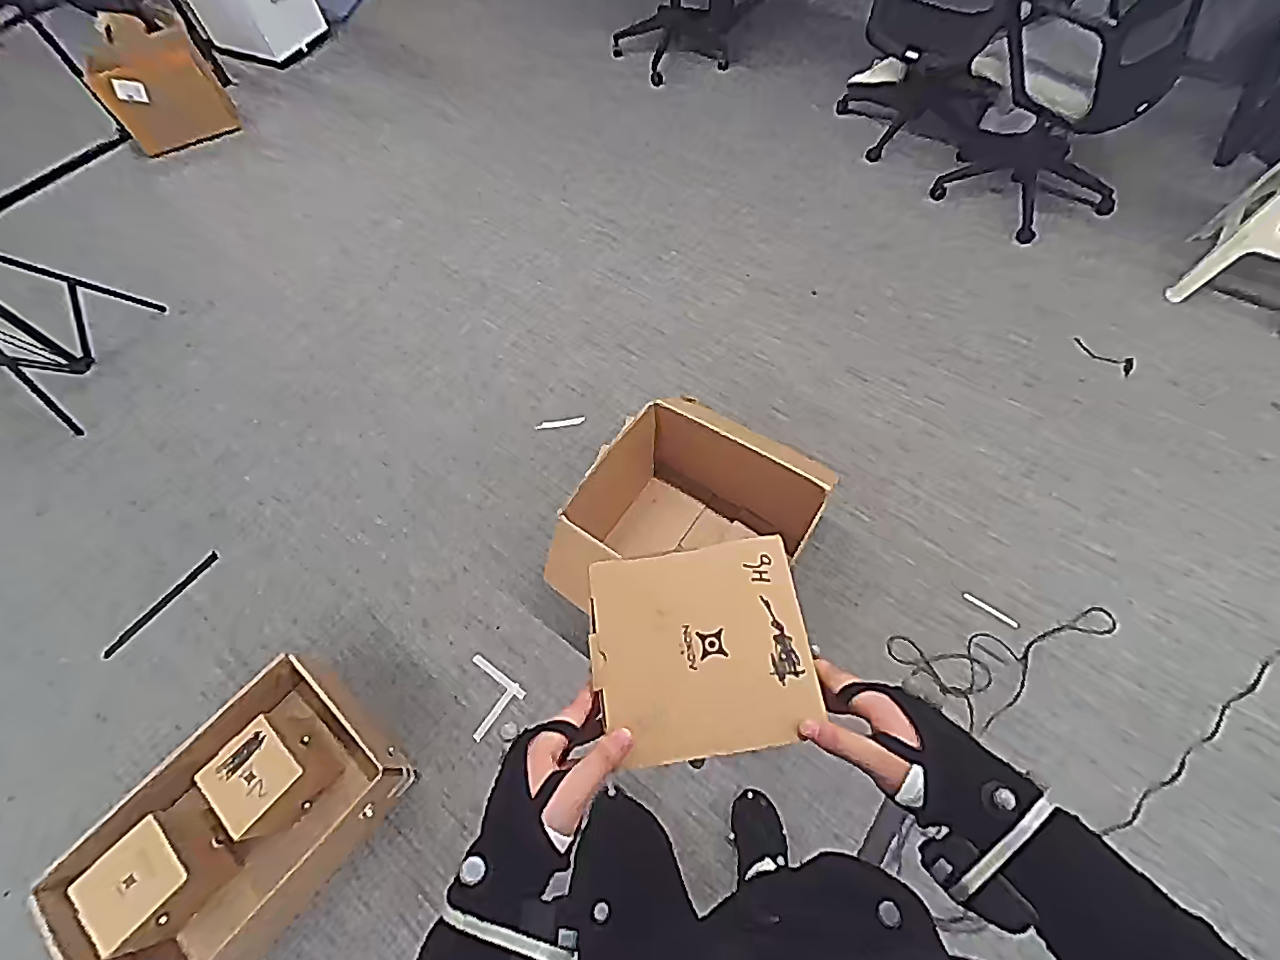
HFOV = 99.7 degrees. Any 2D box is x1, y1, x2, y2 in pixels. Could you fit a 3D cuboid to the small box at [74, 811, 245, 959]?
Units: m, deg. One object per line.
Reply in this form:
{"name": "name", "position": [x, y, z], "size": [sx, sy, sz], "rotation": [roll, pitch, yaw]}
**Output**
{"name": "small box", "position": [-0.994, 0.832, 1.133], "size": [0.168, 0.176, 0.179], "rotation": [37, 68, 18]}

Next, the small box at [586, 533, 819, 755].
{"name": "small box", "position": [0.052, 0.165, 0.529], "size": [0.179, 0.176, 0.168], "rotation": [-9, 67, -1]}
